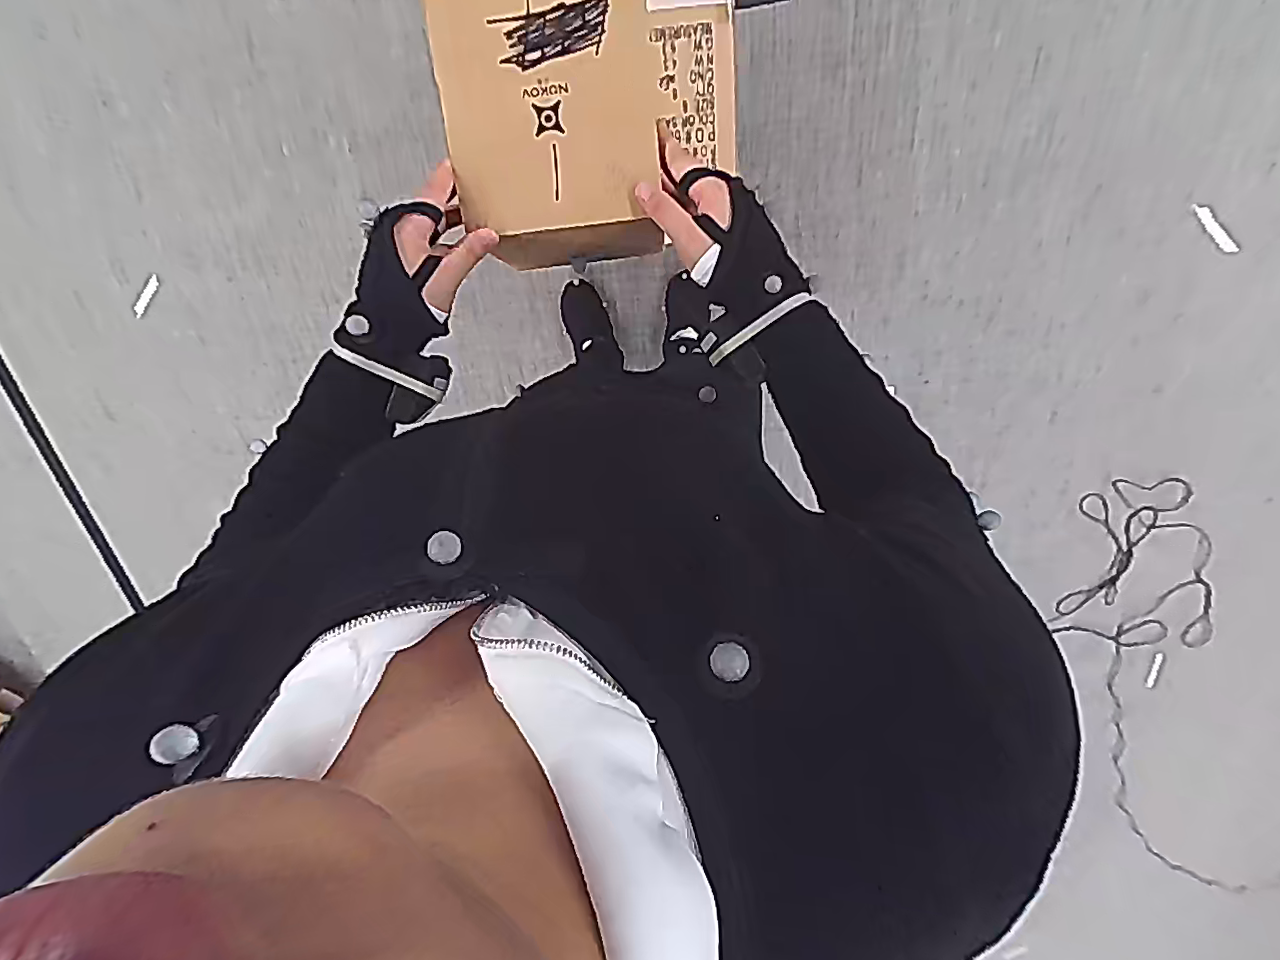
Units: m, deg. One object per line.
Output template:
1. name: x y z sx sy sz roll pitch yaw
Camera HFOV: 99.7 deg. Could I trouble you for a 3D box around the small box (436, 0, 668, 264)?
1. small box: -0.064 -0.311 0.499 0.168 0.176 0.179 -5 104 4
